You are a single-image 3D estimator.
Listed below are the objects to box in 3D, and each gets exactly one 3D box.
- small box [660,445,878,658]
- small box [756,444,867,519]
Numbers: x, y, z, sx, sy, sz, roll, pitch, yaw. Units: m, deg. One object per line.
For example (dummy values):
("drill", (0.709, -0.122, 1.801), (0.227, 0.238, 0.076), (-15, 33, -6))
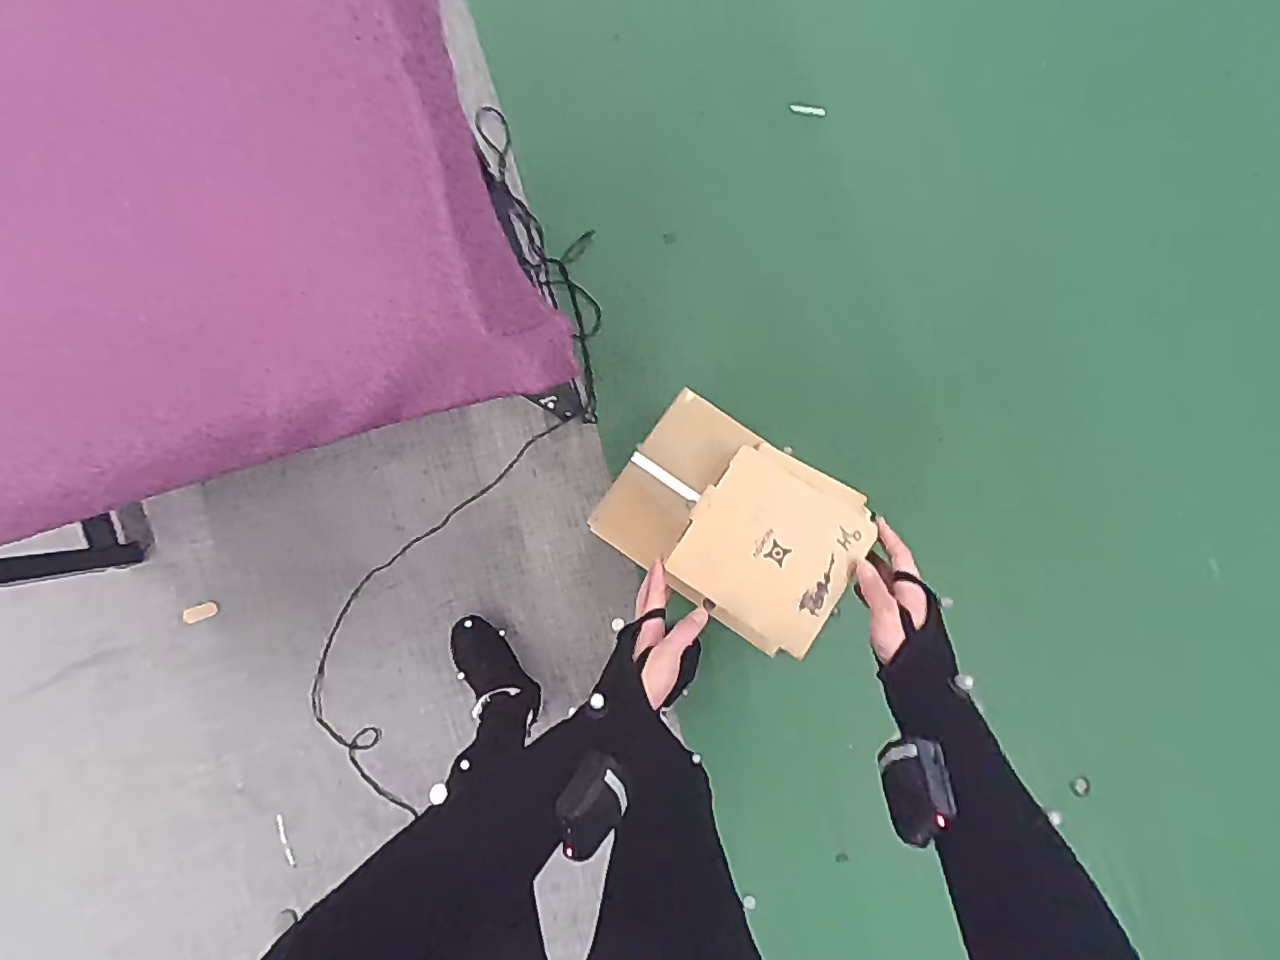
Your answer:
("small box", (0.140, 0.086, 0.653), (0.179, 0.176, 0.168), (35, 85, 8))
("small box", (0.219, 0.062, 0.865), (0.179, 0.176, 0.168), (29, 90, 2))
